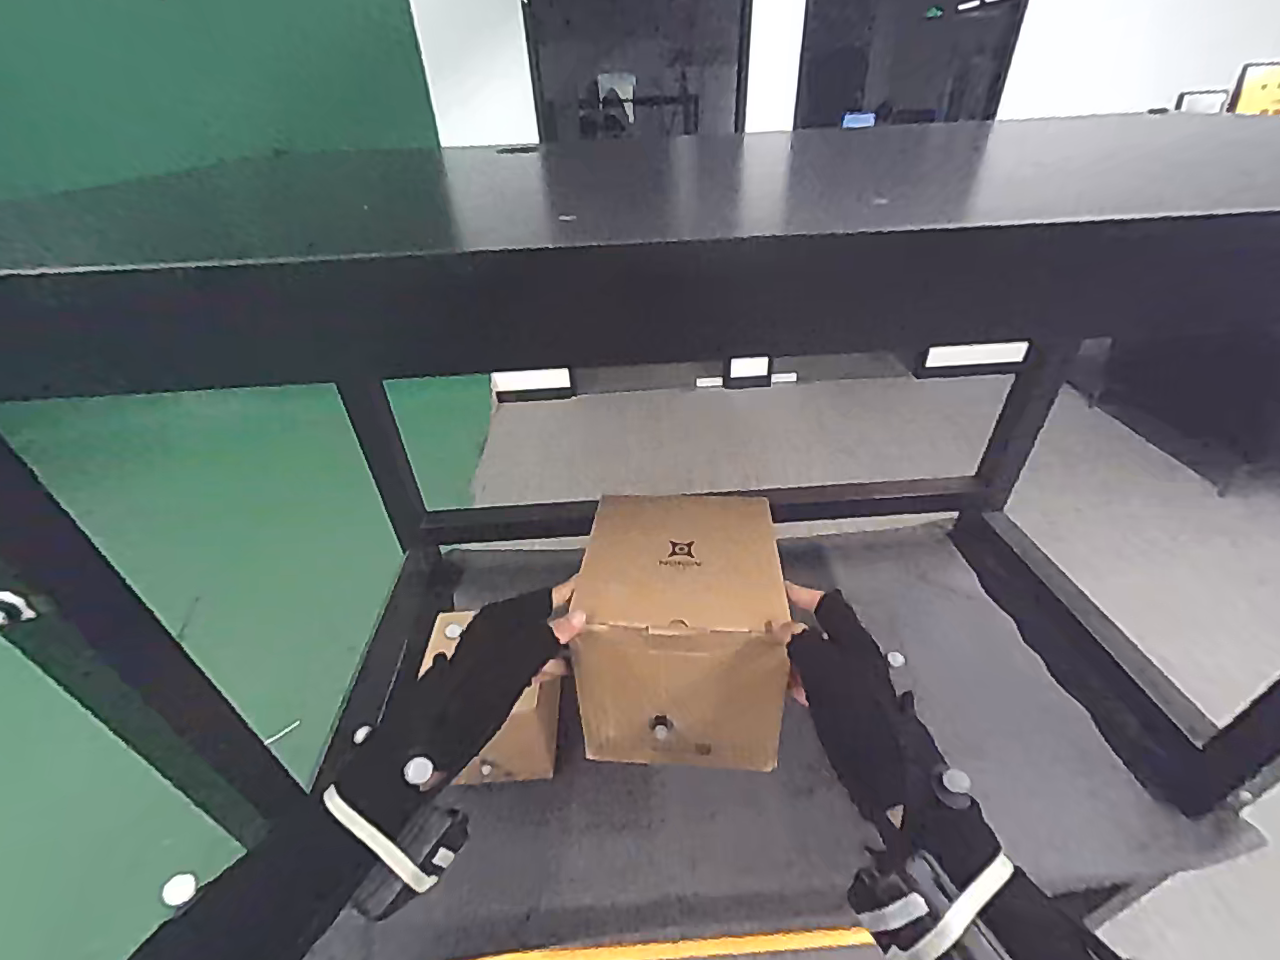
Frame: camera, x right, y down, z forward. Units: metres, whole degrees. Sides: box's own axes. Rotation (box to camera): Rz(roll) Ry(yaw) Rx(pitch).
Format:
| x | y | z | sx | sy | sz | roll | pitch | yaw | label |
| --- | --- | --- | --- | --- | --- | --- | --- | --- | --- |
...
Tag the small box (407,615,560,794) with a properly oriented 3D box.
| x | y | z | sx | sy | sz | roll | pitch | yaw | label |
| --- | --- | --- | --- | --- | --- | --- | --- | --- | --- |
| -0.211 | 0.322 | 0.785 | 0.168 | 0.176 | 0.179 | -4 | 35 | -1 | small box |
